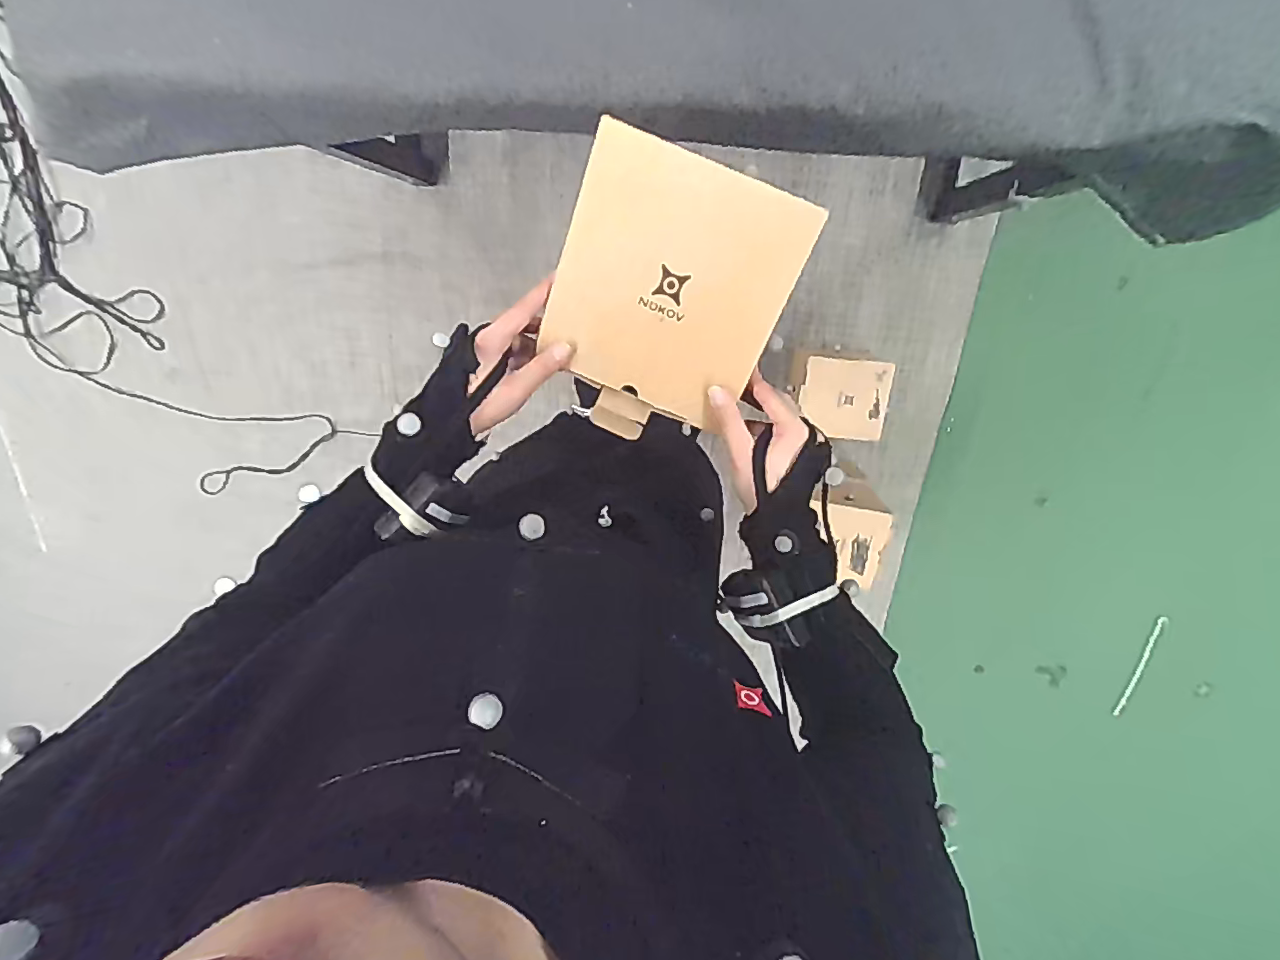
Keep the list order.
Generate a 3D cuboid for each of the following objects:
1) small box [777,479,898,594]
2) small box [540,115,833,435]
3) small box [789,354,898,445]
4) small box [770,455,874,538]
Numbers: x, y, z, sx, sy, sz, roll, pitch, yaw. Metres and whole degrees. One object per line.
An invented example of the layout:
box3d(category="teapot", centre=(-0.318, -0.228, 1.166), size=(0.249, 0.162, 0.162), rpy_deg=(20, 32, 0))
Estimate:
box3d(category="small box", centre=(0.394, 0.108, 1.111), size=(0.179, 0.176, 0.168), rpy_deg=(11, 108, 4))
box3d(category="small box", centre=(0.035, -0.170, 0.463), size=(0.168, 0.176, 0.179), rpy_deg=(22, 116, -1))
box3d(category="small box", centre=(0.432, -0.181, 1.183), size=(0.179, 0.176, 0.168), rpy_deg=(5, 108, 5))
box3d(category="small box", centre=(0.415, 0.049, 1.263), size=(0.179, 0.176, 0.168), rpy_deg=(11, 109, 4))
